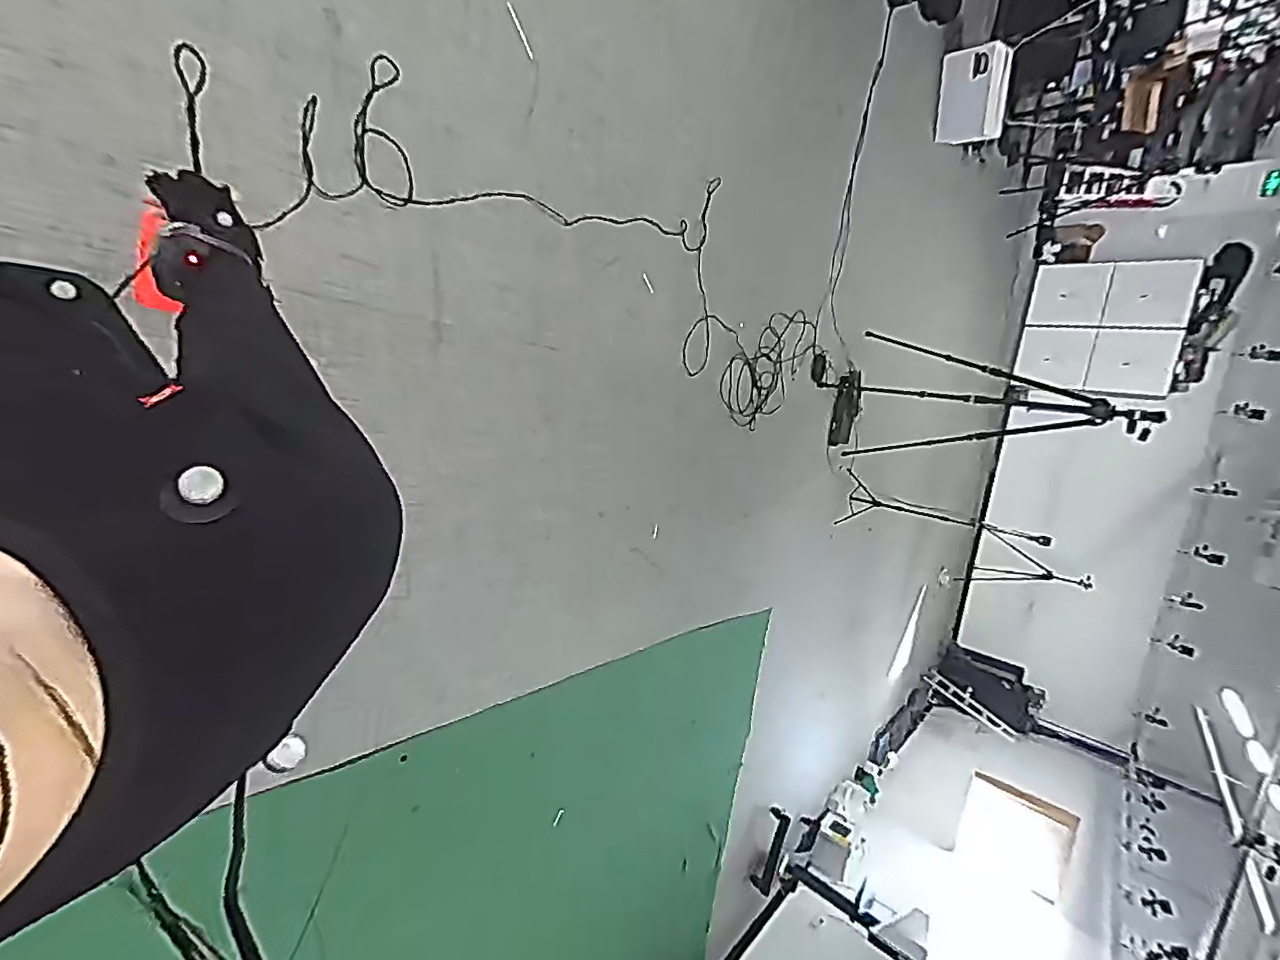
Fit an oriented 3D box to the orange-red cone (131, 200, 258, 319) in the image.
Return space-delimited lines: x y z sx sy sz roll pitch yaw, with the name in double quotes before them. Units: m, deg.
"orange-red cone" -0.818 -0.424 1.039 0.198 0.360 0.199 7 98 -49
